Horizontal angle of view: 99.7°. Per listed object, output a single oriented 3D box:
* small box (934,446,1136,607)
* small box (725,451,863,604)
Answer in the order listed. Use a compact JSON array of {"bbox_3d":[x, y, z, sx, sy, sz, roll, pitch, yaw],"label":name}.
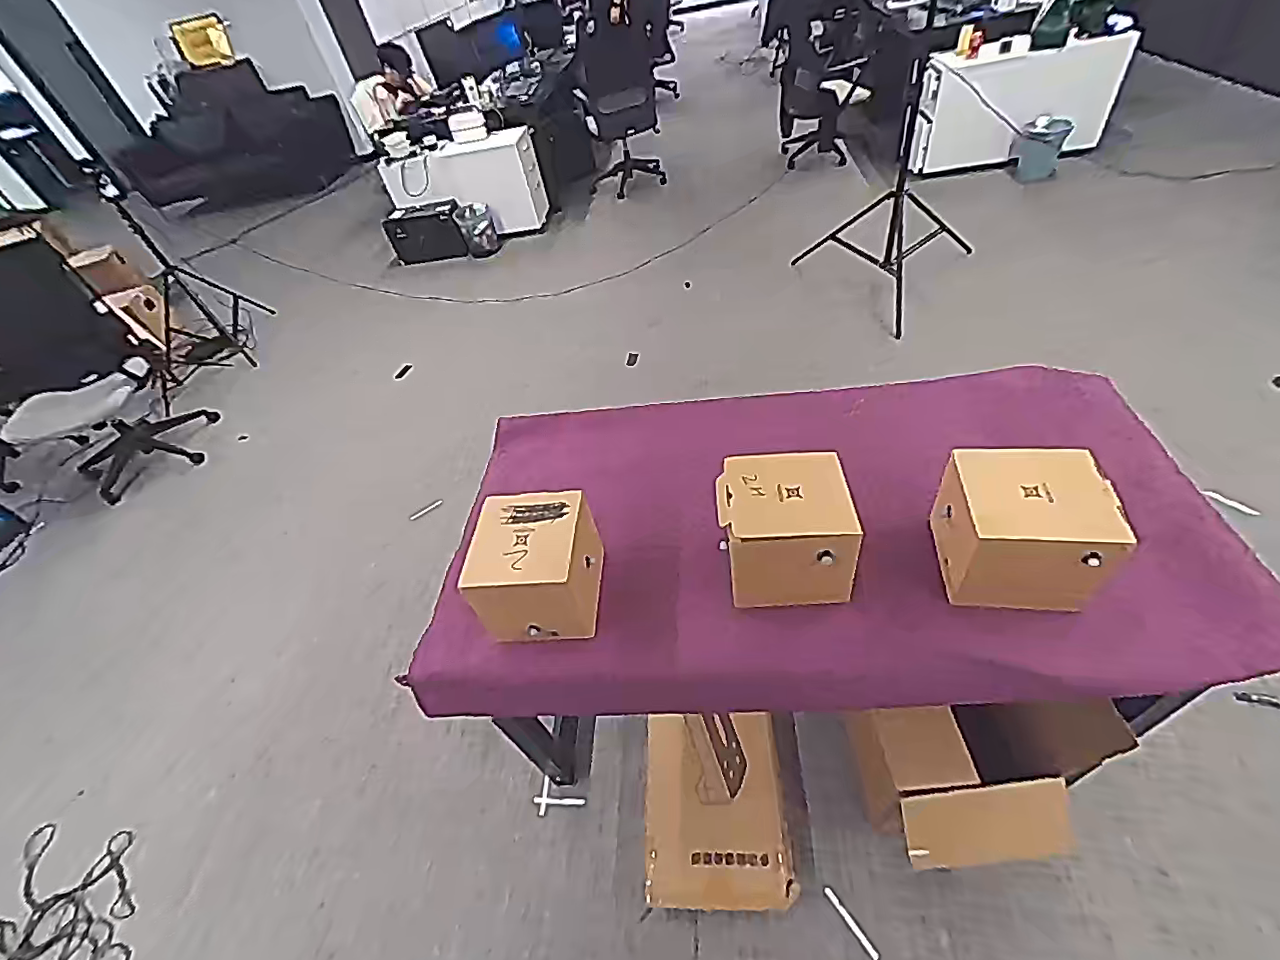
[{"bbox_3d":[0.538,0.068,0.775,0.179,0.176,0.168,0,47,13],"label":"small box"},{"bbox_3d":[0.226,0.077,0.837,0.179,0.176,0.168,-5,44,8],"label":"small box"}]
